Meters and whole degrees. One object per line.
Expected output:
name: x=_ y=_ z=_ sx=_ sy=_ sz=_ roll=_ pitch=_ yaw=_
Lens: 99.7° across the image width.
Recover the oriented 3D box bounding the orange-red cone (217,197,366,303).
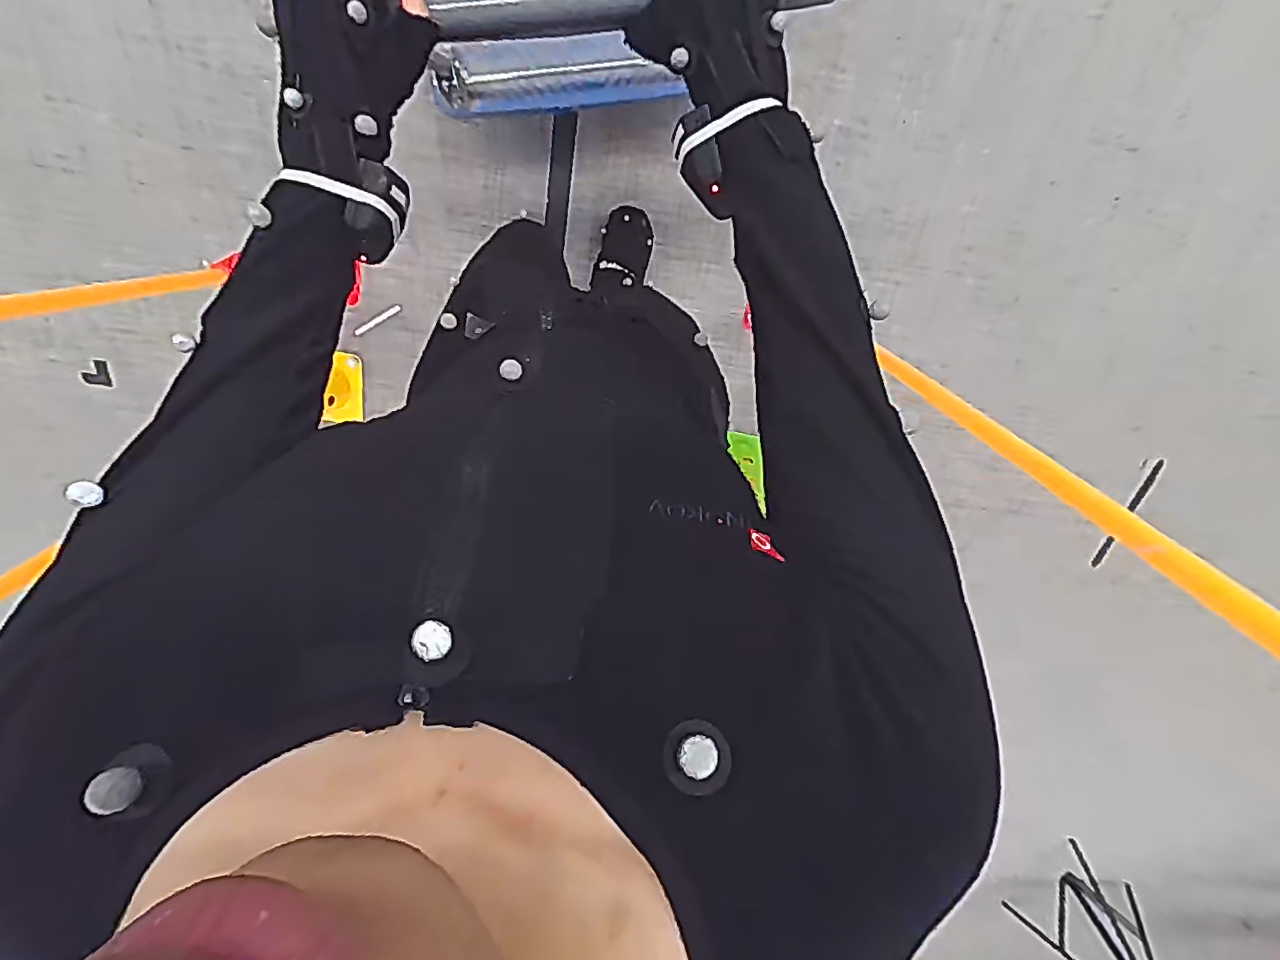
orange-red cone: x=-0.743 y=-0.455 z=1.117 sx=0.198 sy=0.360 sz=0.199 roll=14 pitch=116 yaw=-10

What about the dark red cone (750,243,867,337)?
dark red cone: x=0.387 y=-0.379 z=1.166 sx=0.201 sy=0.394 sz=0.202 roll=6 pitch=119 yaw=-7

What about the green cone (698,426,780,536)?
green cone: x=0.291 y=0.031 z=1.407 sx=0.202 sy=0.368 sz=0.200 roll=10 pitch=118 yaw=-8
